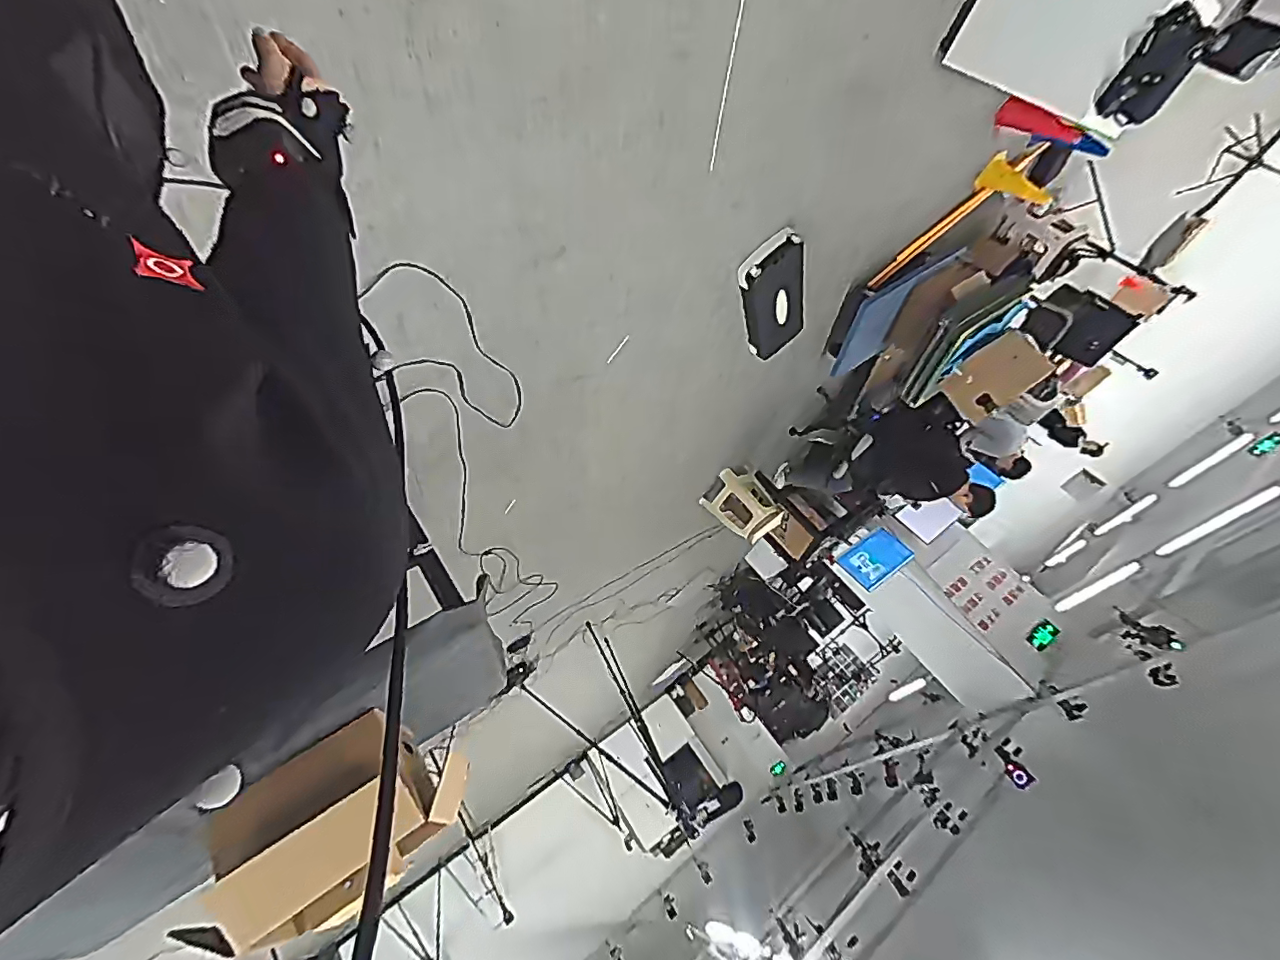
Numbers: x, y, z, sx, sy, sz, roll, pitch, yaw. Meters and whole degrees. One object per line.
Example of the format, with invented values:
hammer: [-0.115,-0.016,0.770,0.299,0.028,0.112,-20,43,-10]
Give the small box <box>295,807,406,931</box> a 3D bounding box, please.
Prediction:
small box: [-0.703,0.935,1.308,0.179,0.176,0.168,-29,153,-24]
